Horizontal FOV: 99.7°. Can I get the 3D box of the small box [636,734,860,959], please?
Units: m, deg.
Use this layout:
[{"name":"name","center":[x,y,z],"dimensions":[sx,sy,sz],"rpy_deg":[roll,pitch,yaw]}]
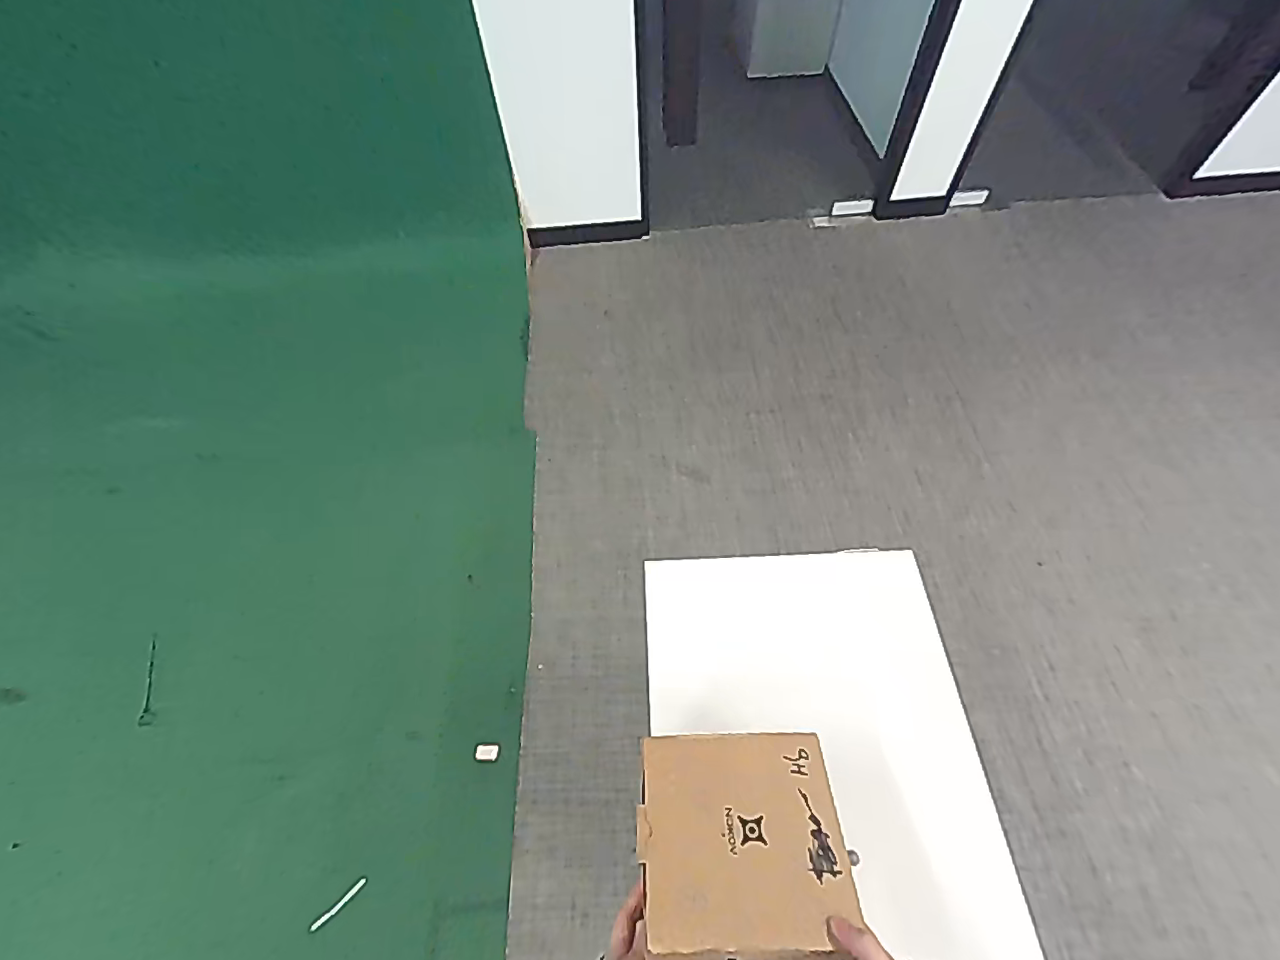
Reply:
[{"name":"small box","center":[0.088,0.368,0.528],"dimensions":[0.179,0.176,0.168],"rpy_deg":[-1,41,1]}]
